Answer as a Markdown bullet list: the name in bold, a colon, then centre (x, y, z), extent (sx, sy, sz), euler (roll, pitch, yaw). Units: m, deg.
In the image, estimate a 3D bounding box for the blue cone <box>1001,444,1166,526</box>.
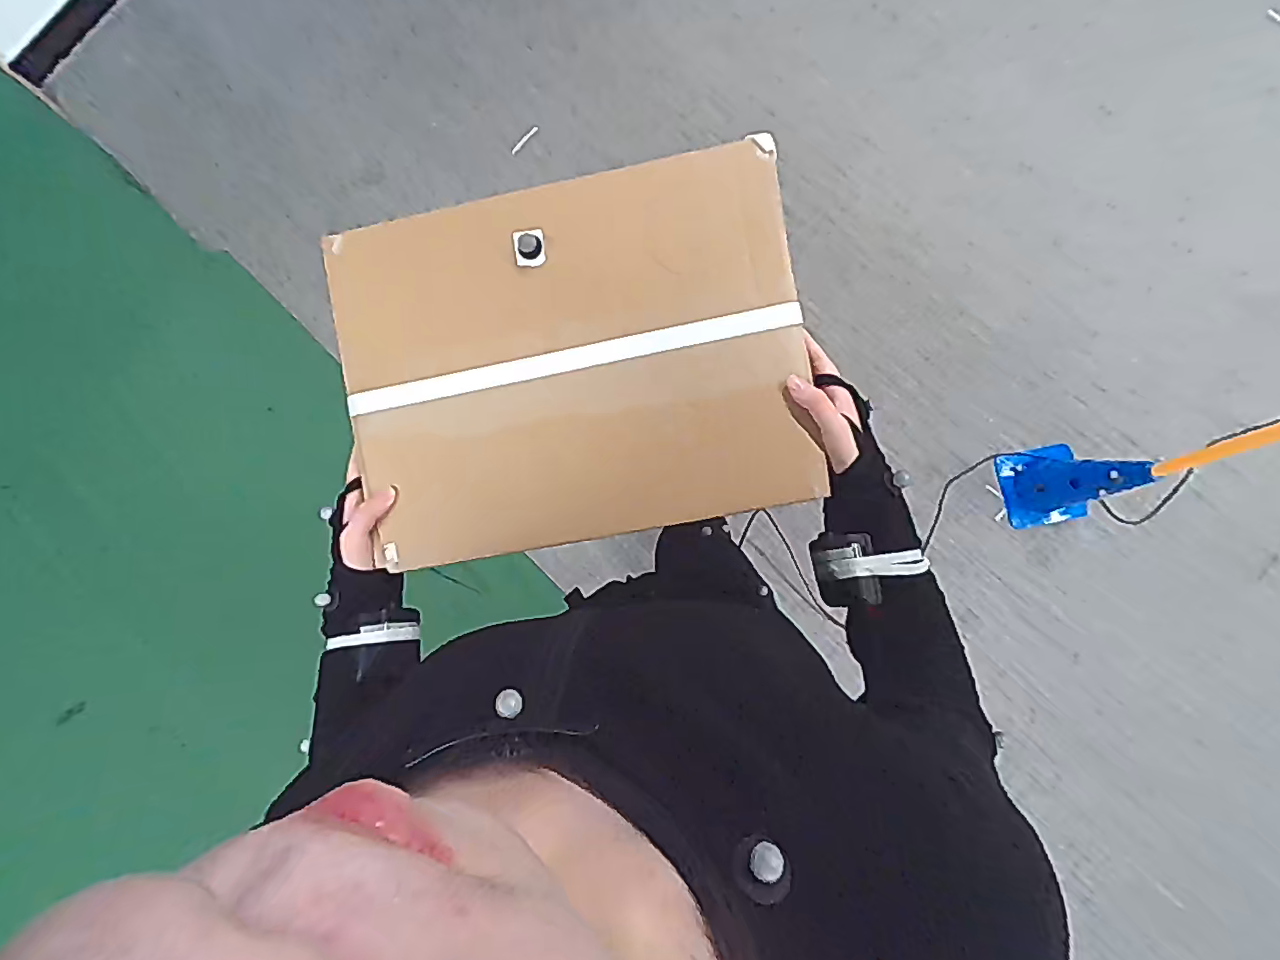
- **blue cone**: centre (1.046, 0.000, 1.251), extent (0.193, 0.380, 0.192), euler (-14, 83, 4)
